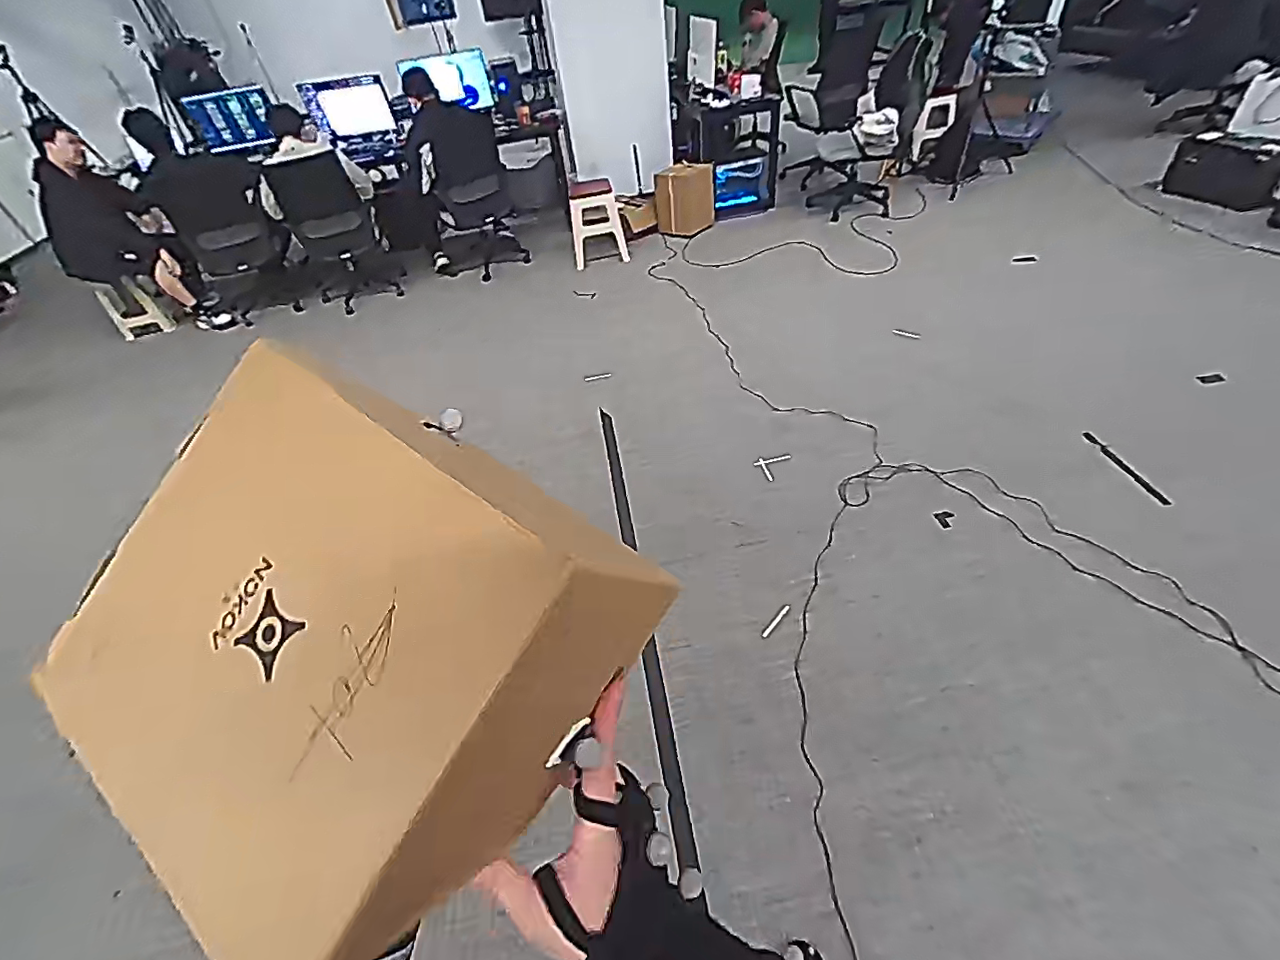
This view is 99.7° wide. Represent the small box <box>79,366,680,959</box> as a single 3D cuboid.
[{"bbox_3d":[-0.103,0.074,0.277,0.179,0.176,0.168,29,88,20],"label":"small box"}]
